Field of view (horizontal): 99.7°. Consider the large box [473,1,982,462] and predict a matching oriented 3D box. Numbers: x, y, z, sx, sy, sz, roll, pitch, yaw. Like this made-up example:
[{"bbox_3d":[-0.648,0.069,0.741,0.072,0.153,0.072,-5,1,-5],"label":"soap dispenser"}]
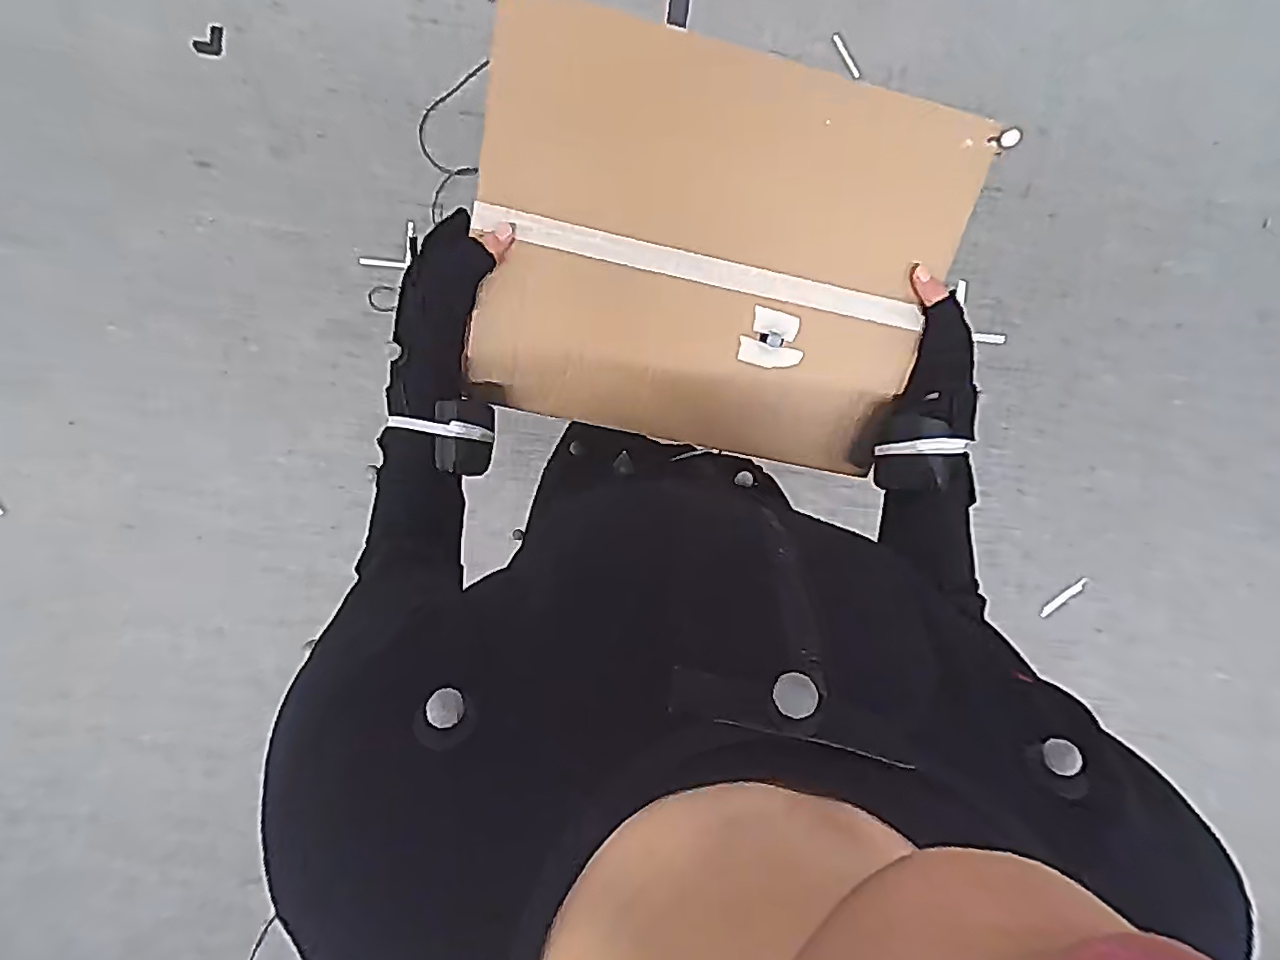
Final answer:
[{"bbox_3d":[0.055,-0.245,0.619,0.408,0.320,0.320,11,113,-8],"label":"large box"}]
